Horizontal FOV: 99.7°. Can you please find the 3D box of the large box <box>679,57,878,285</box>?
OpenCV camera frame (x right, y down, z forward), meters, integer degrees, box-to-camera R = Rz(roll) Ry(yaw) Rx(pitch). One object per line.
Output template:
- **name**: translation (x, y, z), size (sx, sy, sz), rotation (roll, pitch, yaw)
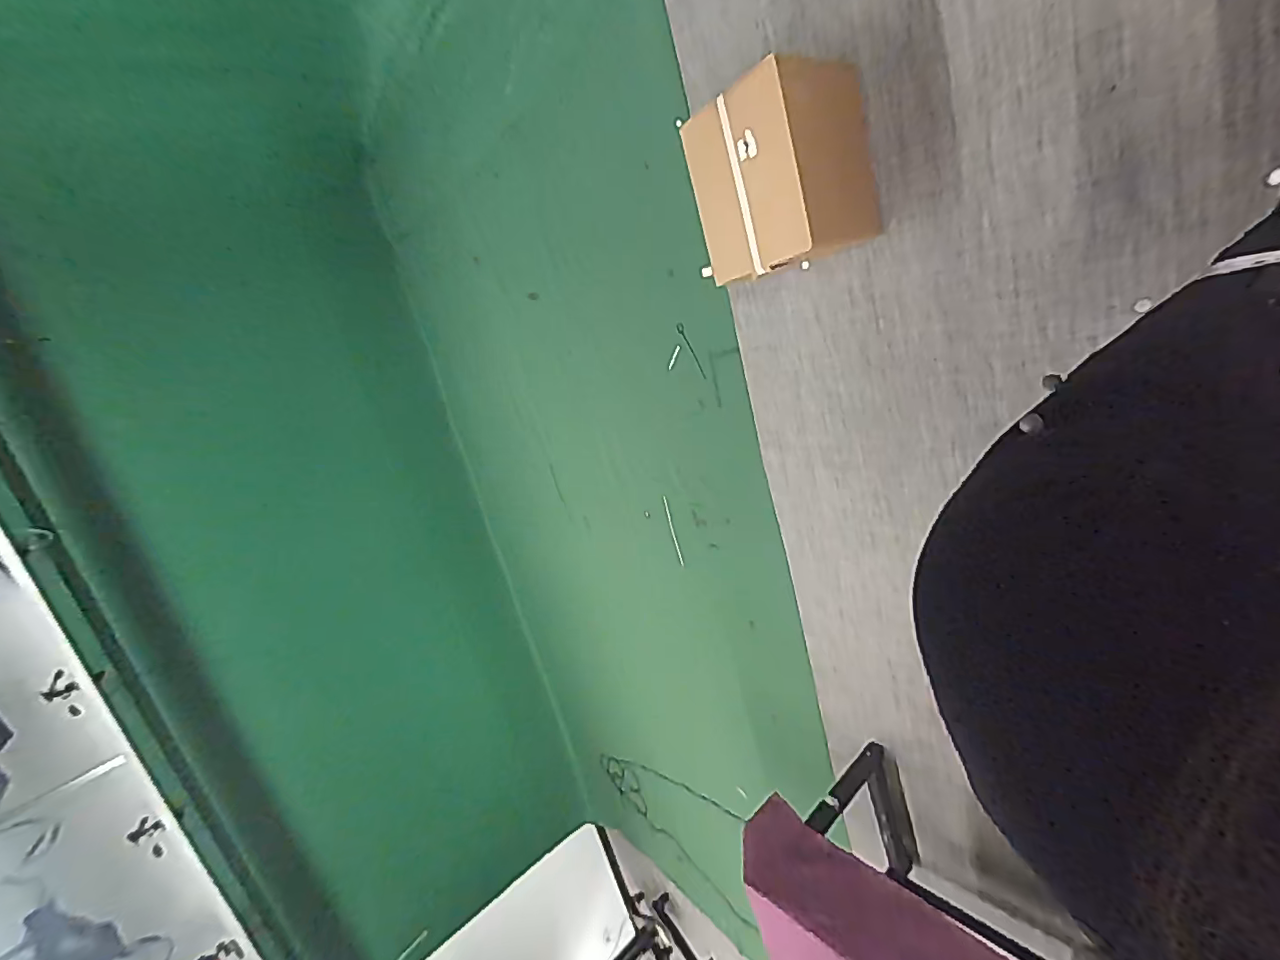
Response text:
- **large box**: translation (0.356, -0.759, 1.378), size (0.320, 0.320, 0.408), rotation (2, 111, 54)
